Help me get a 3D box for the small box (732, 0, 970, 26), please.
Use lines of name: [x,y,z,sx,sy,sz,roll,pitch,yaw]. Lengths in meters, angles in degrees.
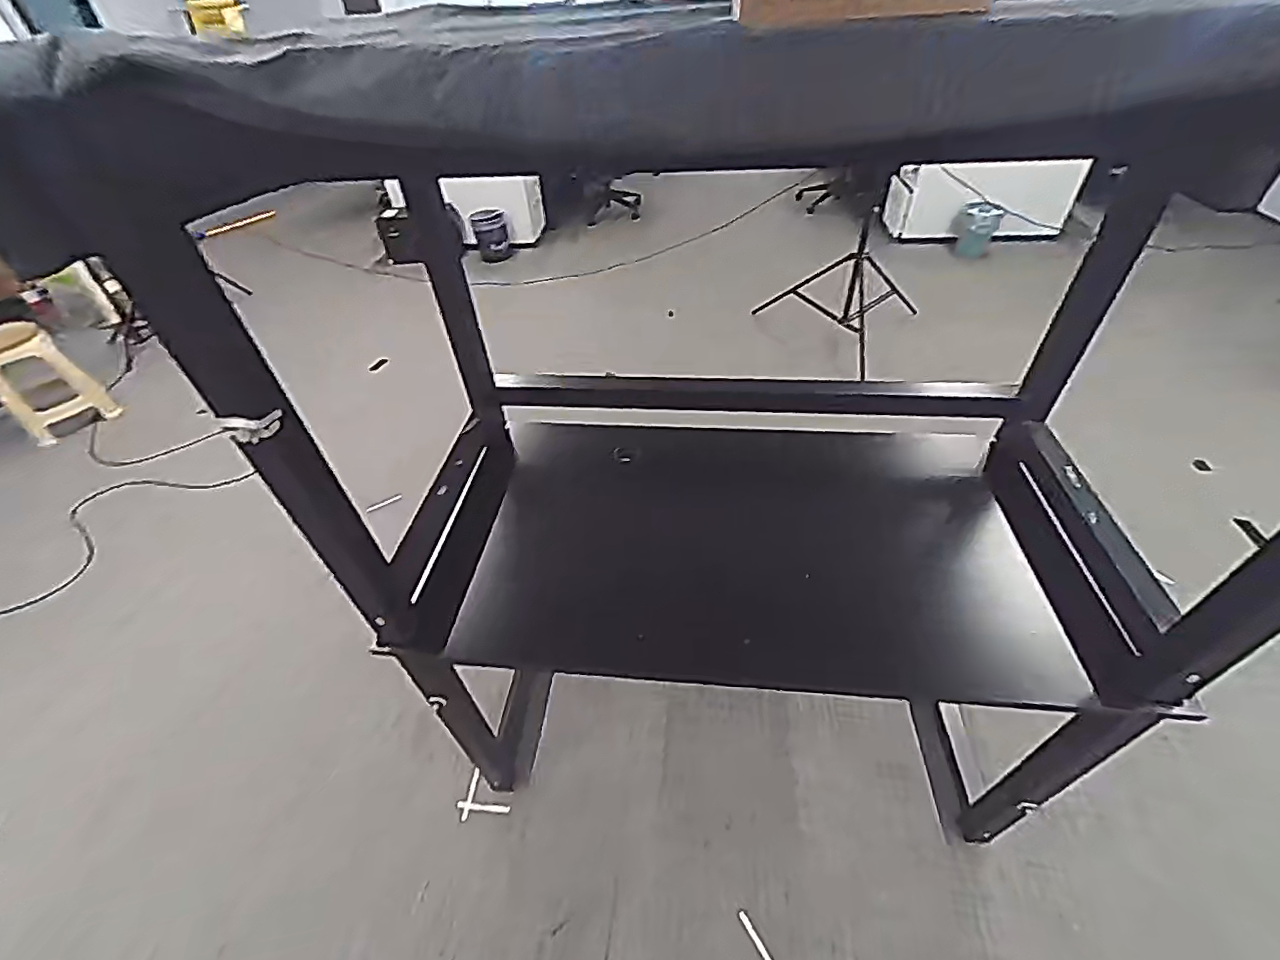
small box: [0.153,-0.428,0.371,0.168,0.176,0.179,2,42,6]
